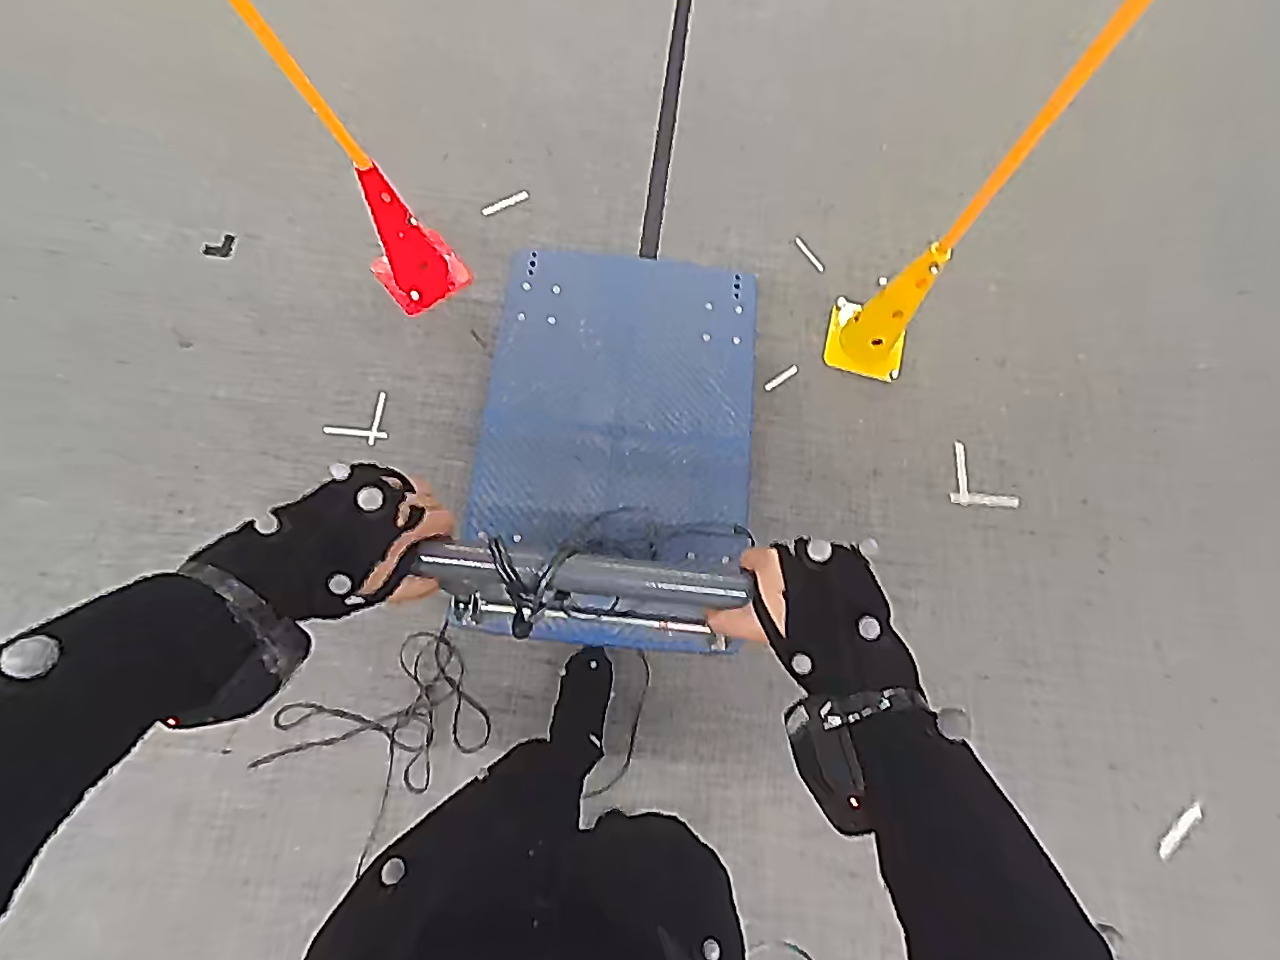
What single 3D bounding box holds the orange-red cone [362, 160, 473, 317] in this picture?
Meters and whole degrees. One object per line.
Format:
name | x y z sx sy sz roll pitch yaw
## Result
orange-red cone | -0.557 -0.589 1.265 0.199 0.360 0.198 -36 80 -13
